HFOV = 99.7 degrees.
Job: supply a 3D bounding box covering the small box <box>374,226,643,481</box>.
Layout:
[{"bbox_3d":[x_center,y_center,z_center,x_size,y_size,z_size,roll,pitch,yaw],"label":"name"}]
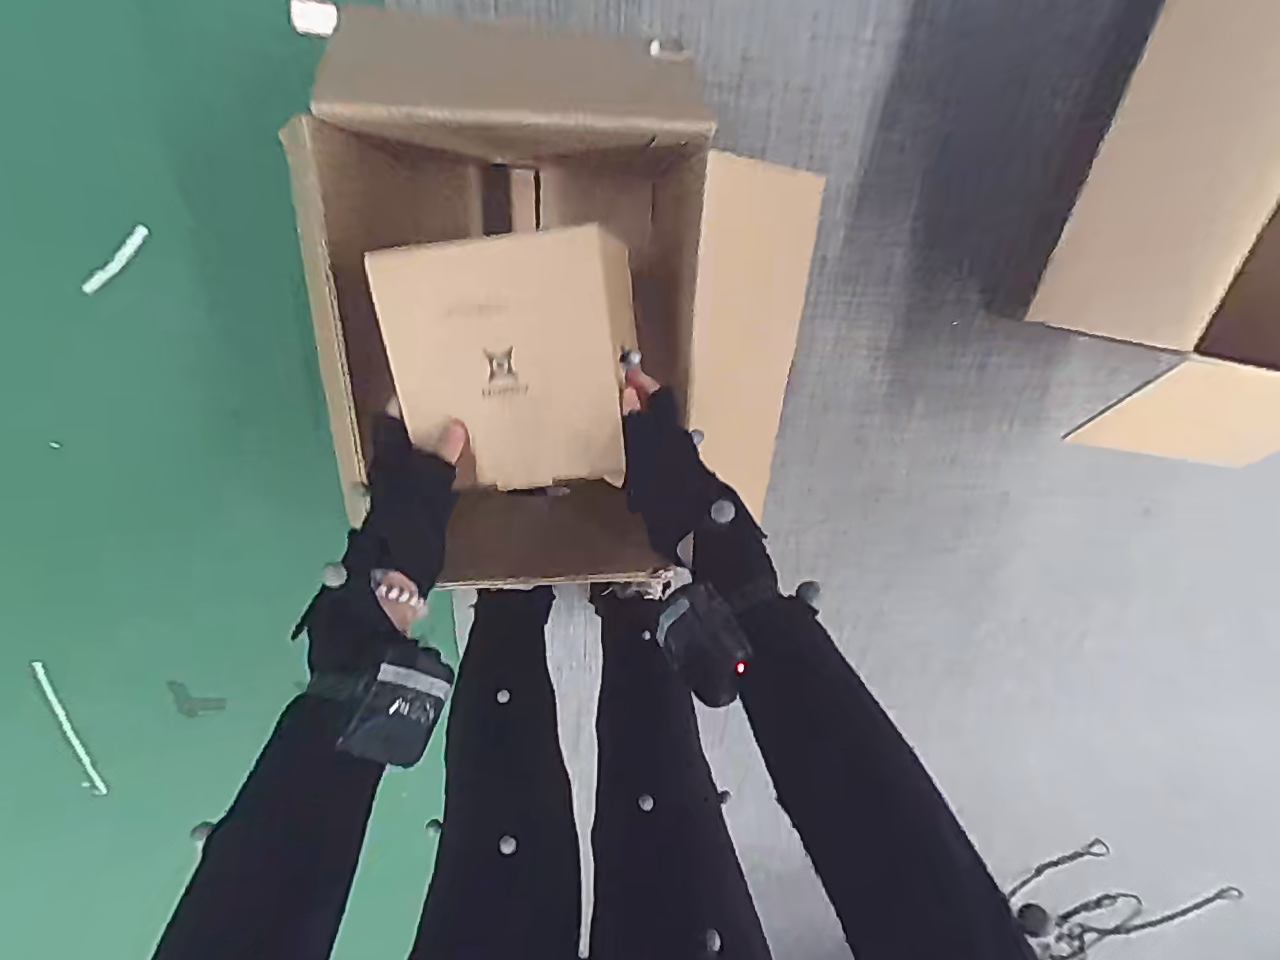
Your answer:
[{"bbox_3d":[-0.090,-0.110,0.467,0.168,0.176,0.179,-3,109,6],"label":"small box"}]
